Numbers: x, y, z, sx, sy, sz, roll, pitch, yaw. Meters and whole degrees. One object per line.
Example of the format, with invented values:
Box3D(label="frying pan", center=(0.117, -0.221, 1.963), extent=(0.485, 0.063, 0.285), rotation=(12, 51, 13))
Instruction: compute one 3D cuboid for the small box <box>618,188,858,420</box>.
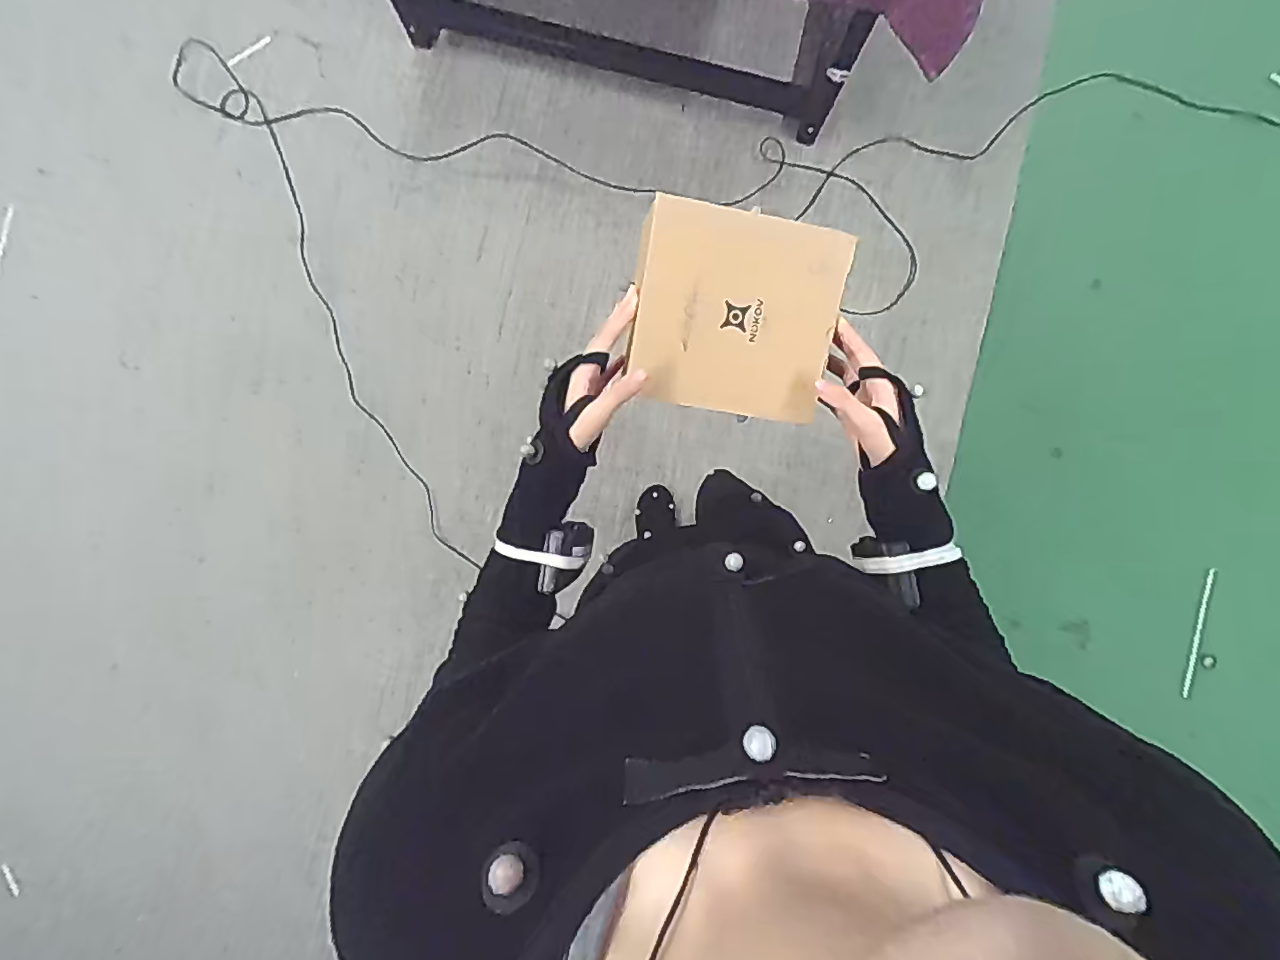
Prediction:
Box3D(label="small box", center=(0.078, -0.166, 0.539), extent=(0.179, 0.176, 0.168), rotation=(9, 104, -7))
